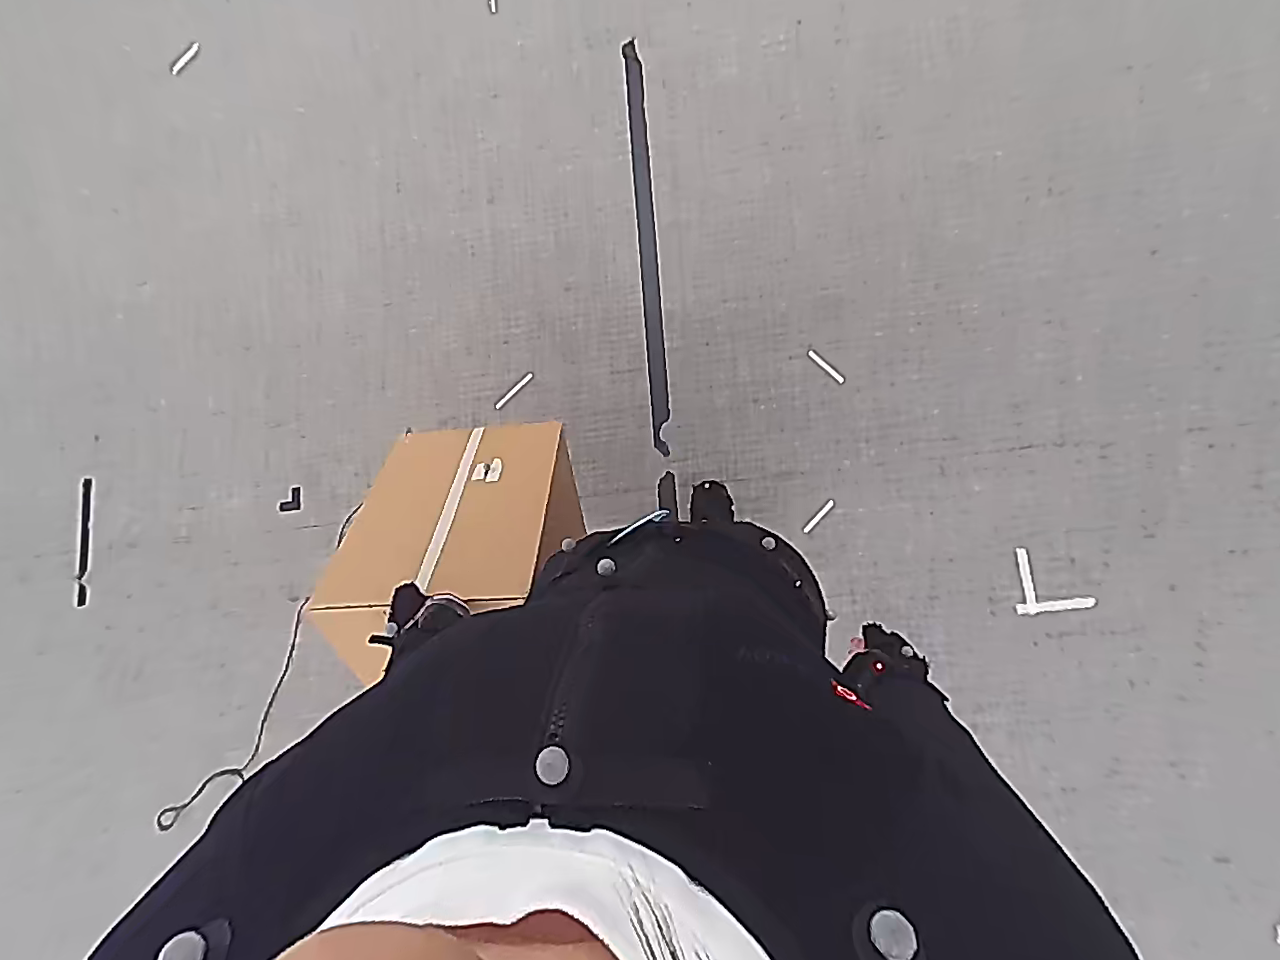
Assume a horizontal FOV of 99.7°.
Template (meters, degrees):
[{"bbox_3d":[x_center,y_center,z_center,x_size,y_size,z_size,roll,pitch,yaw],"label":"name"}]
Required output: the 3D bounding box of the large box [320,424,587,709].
[{"bbox_3d":[-0.284,0.148,0.987,0.320,0.320,0.408,-4,40,4],"label":"large box"}]
